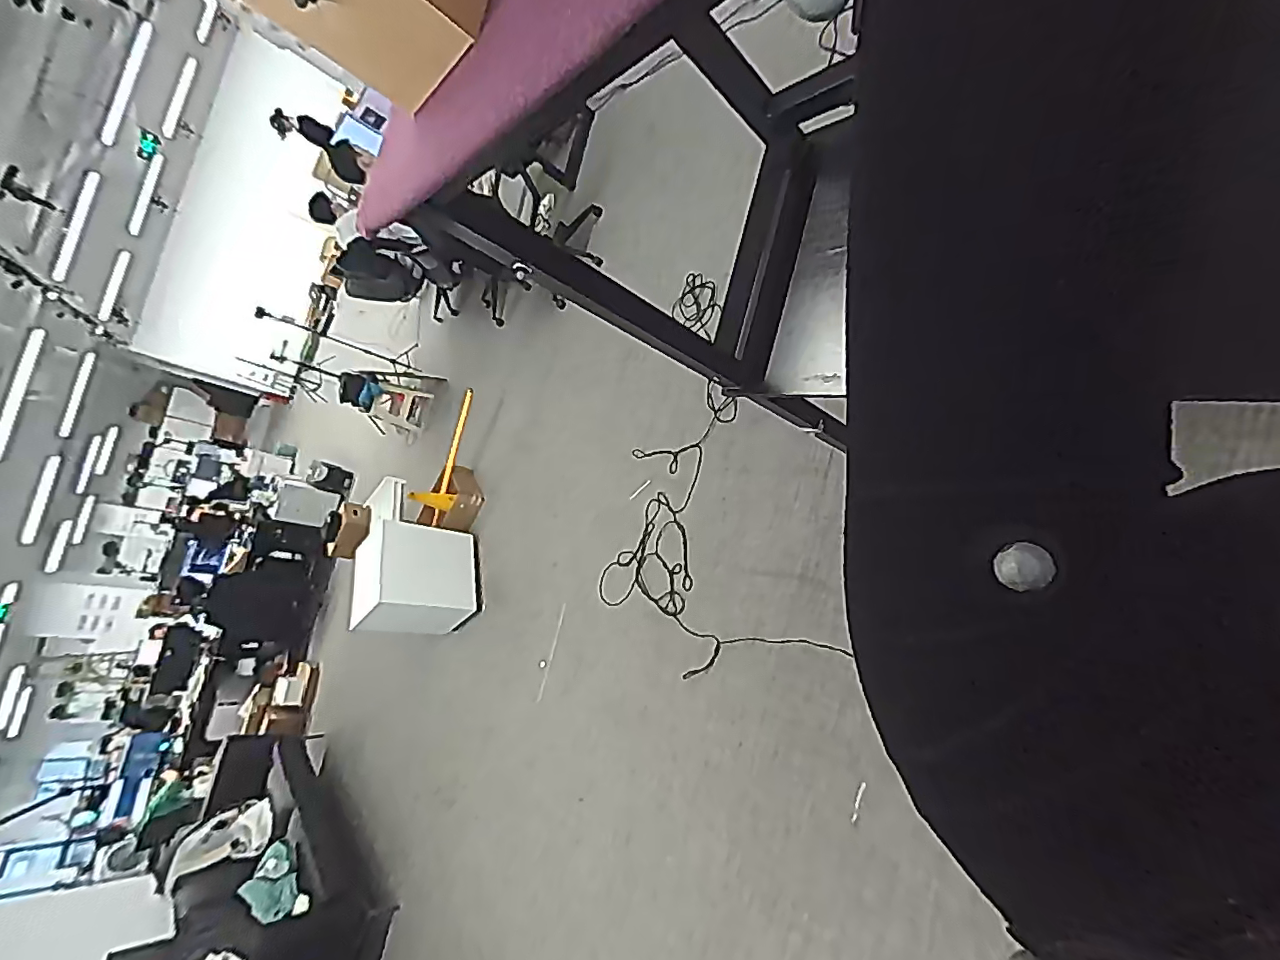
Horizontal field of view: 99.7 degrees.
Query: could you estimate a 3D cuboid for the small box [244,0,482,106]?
[{"bbox_3d":[-0.241,-0.497,0.498,0.179,0.176,0.168,10,85,49],"label":"small box"}]
